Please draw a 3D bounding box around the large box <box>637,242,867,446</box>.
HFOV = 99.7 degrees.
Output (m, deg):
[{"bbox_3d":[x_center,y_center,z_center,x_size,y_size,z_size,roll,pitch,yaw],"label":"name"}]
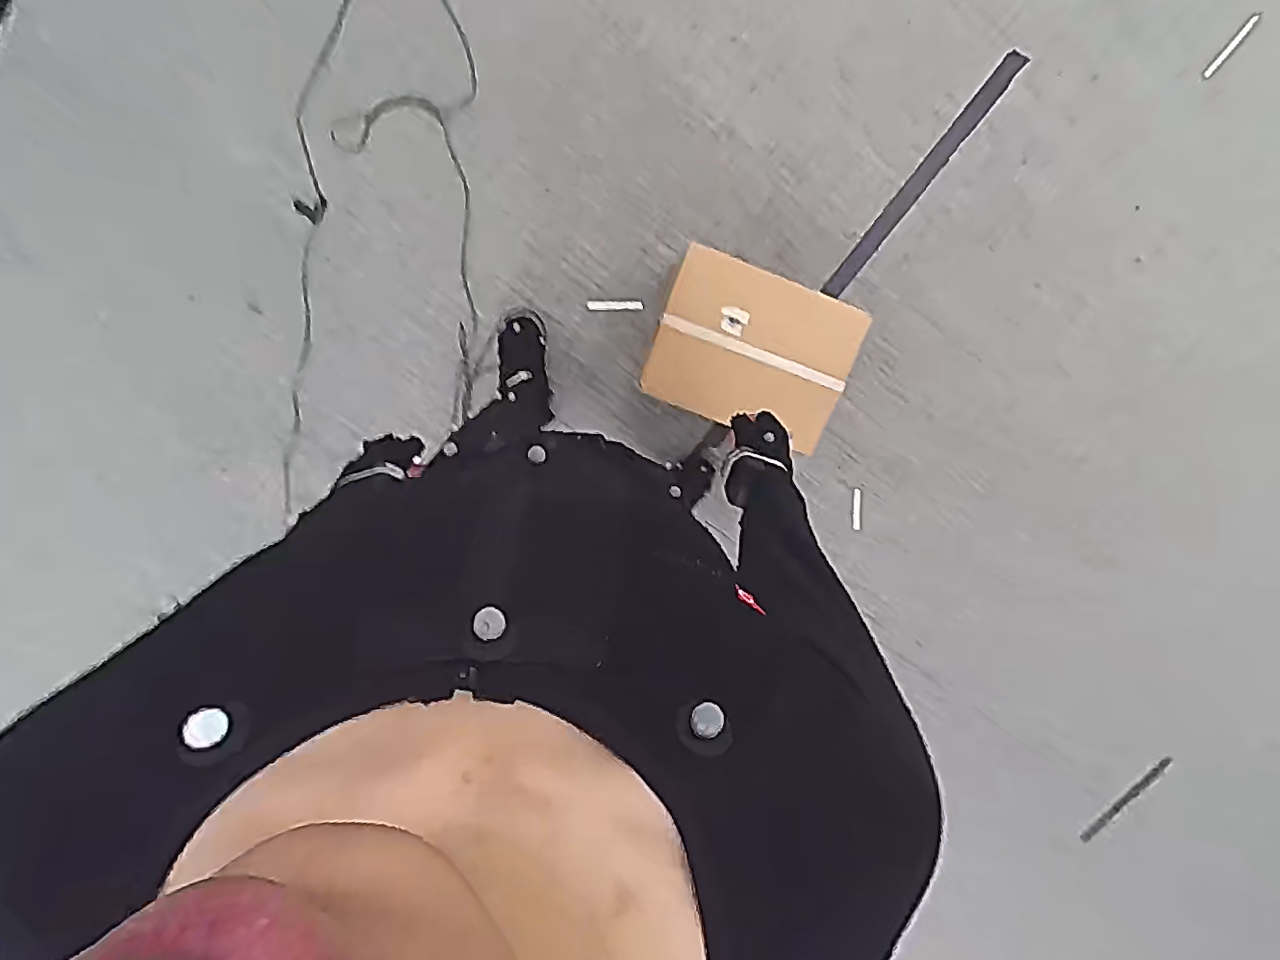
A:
[{"bbox_3d":[0.230,-0.309,1.261,0.408,0.320,0.320,19,102,-5],"label":"large box"}]
